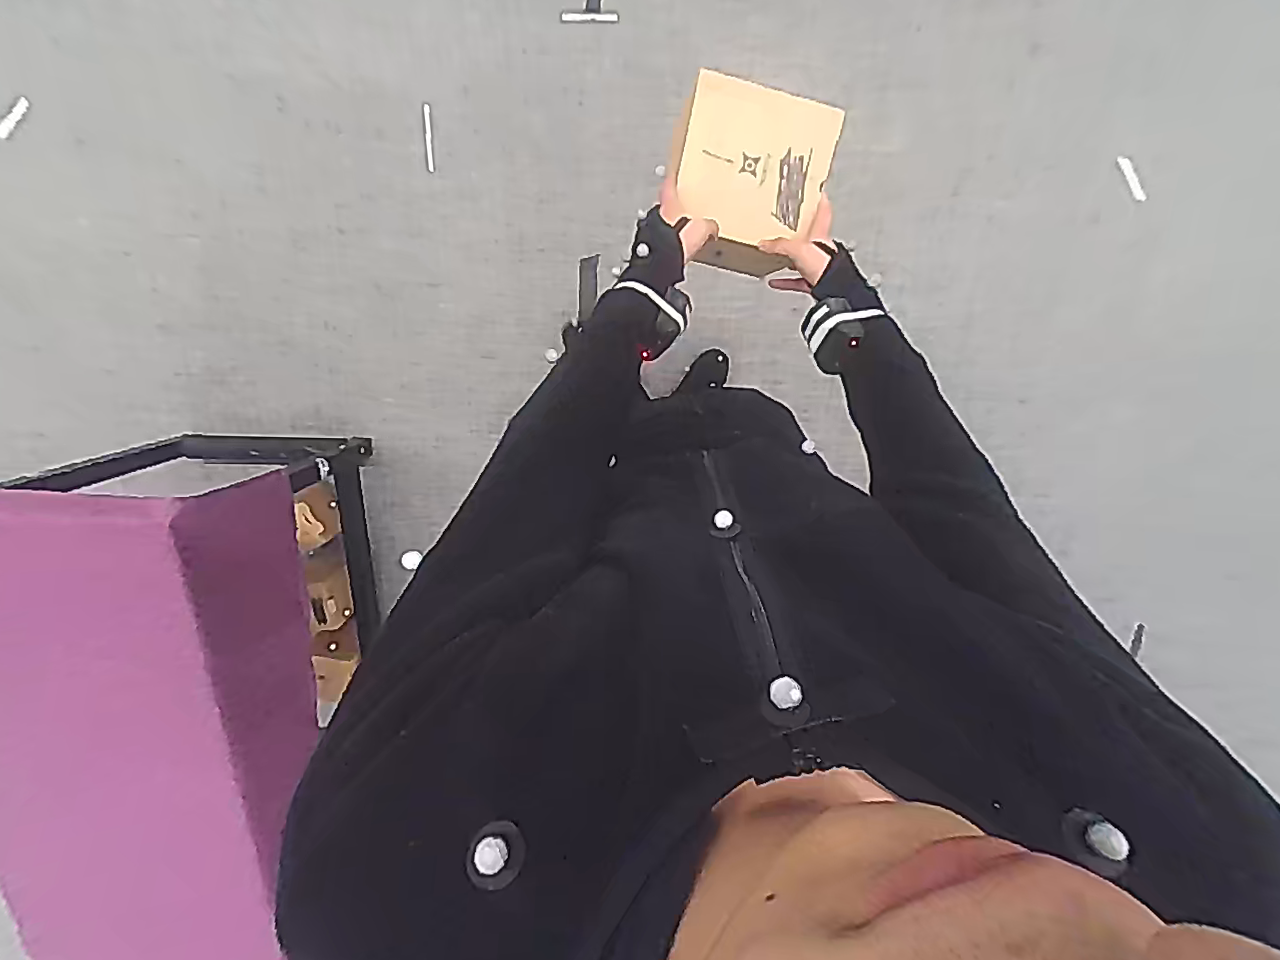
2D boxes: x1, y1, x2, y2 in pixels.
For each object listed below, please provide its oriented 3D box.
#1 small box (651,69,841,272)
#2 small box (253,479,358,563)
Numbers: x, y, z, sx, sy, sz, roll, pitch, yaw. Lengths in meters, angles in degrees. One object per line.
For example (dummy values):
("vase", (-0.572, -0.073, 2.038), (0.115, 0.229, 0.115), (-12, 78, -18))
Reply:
("small box", (0.123, -0.379, 0.701), (0.179, 0.176, 0.168), (10, 101, -8))
("small box", (-1.007, 0.119, 1.644), (0.179, 0.176, 0.168), (-26, 106, 10))
